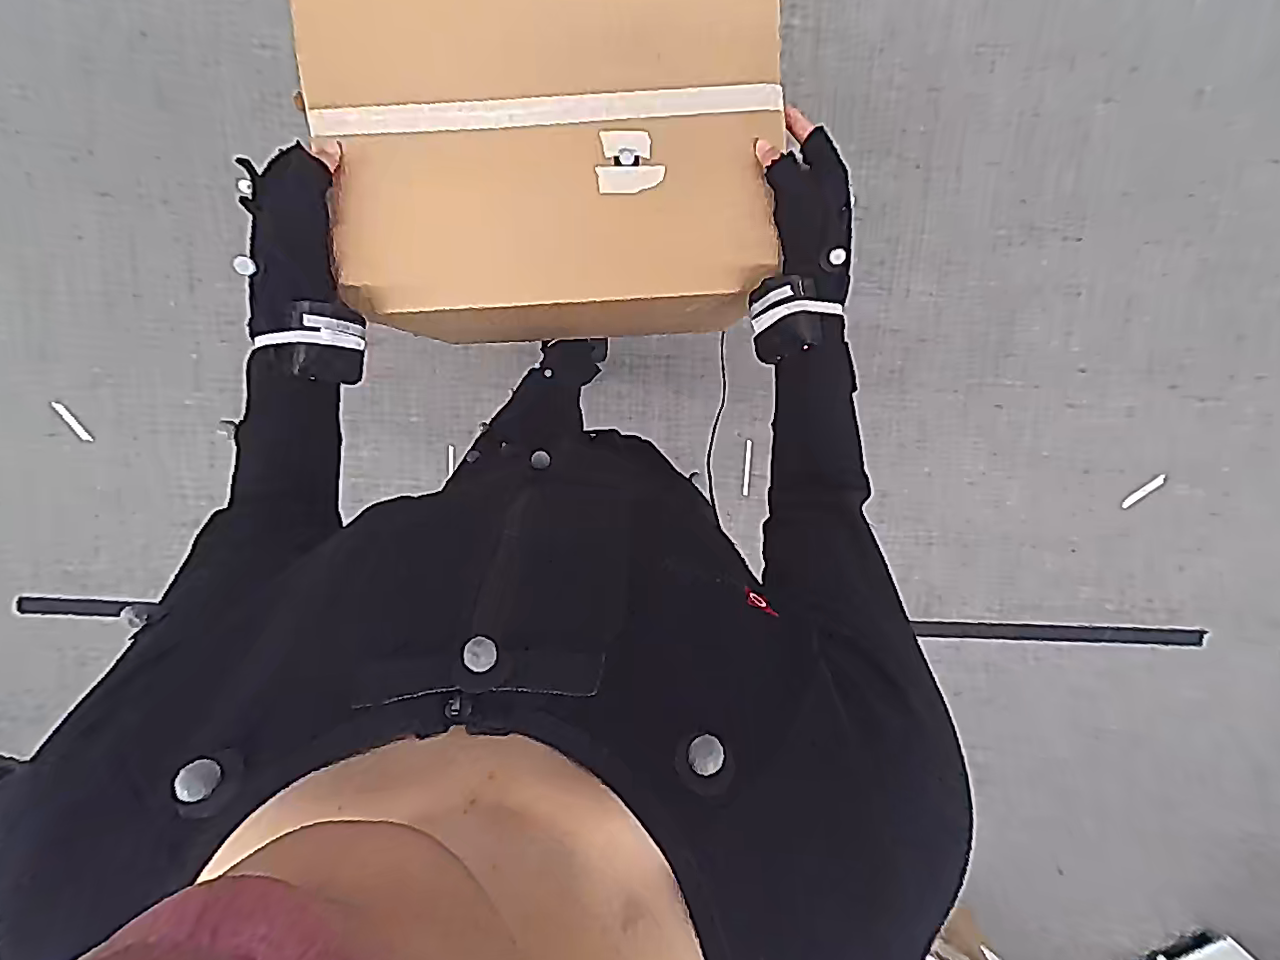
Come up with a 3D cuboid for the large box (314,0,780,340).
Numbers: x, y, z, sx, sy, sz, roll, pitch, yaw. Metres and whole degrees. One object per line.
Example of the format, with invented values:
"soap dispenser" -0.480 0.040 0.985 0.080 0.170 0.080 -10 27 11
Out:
"large box" -0.083 -0.351 0.632 0.408 0.320 0.320 -4 100 -1
